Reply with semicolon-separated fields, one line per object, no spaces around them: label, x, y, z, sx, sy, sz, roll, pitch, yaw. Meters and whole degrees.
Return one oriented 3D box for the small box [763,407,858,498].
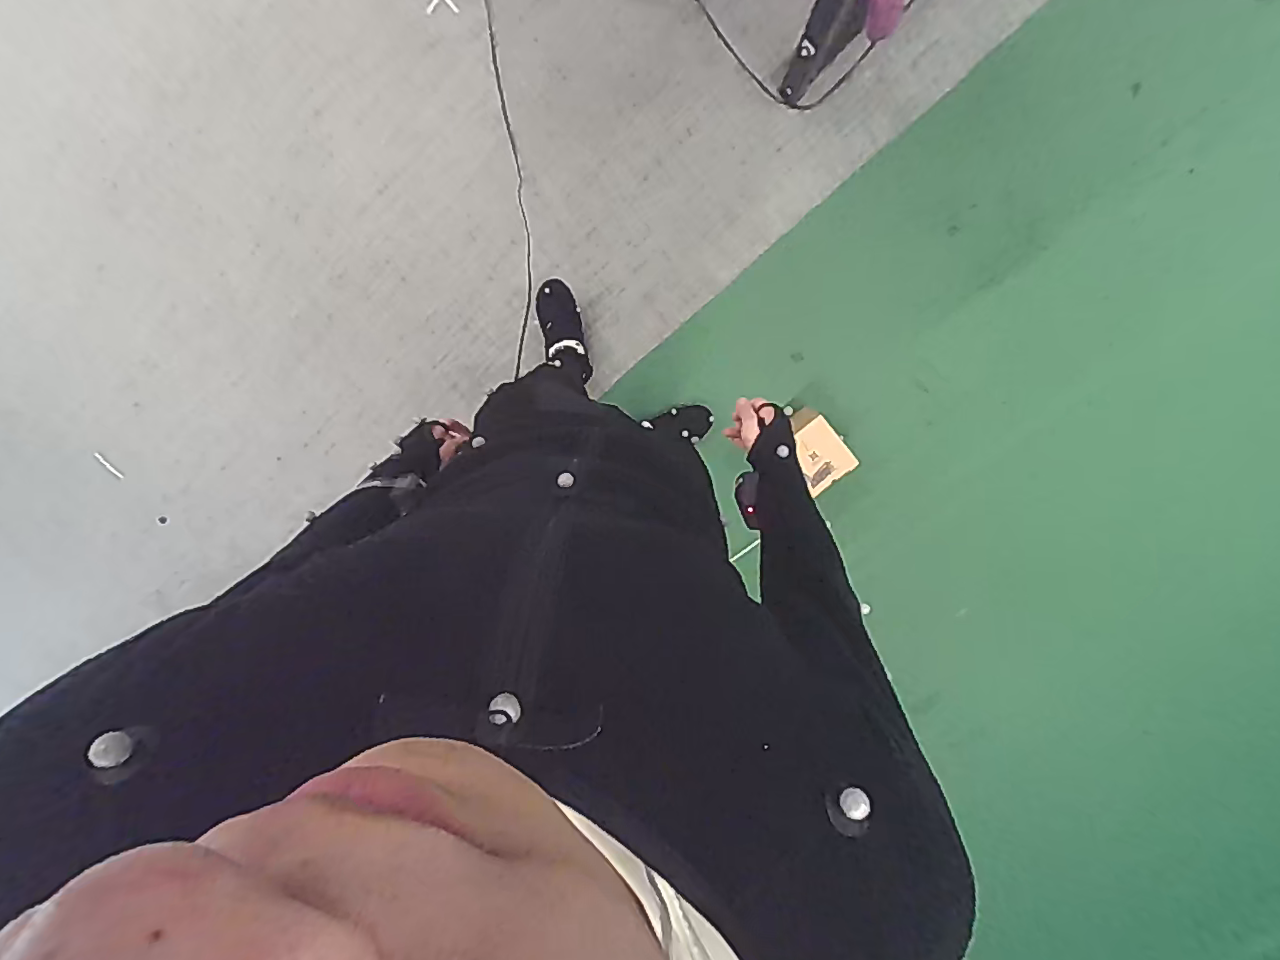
small box;0.468;-0.084;1.507;0.168;0.176;0.179;-39;100;13
